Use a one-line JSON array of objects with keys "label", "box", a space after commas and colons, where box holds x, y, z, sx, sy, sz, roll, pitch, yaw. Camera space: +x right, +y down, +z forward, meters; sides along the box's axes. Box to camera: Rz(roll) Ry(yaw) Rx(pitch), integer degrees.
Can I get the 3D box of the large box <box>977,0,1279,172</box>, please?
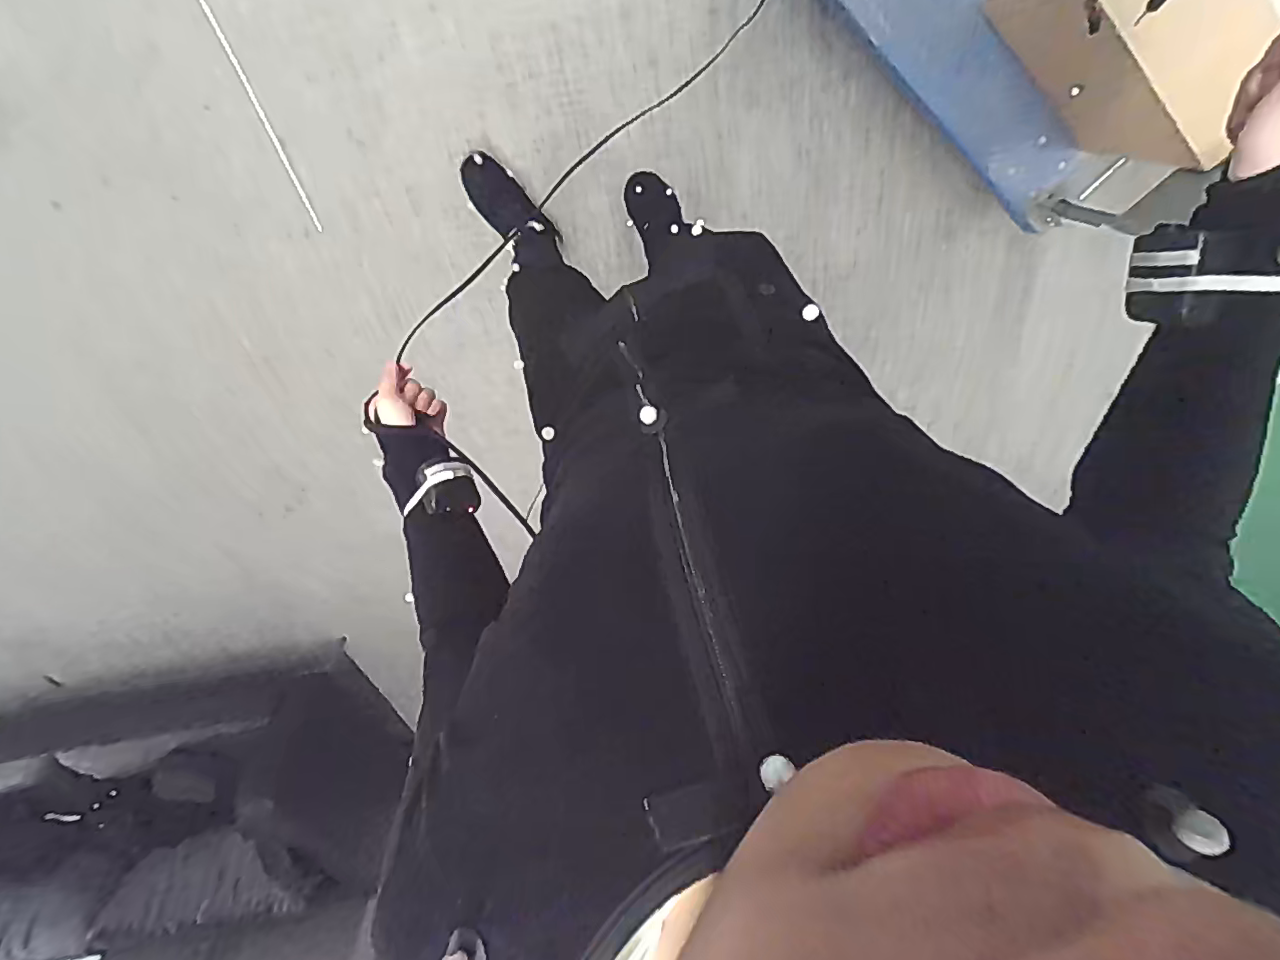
[{"label": "large box", "box": [0.870, -0.793, 0.886, 0.408, 0.320, 0.320, 30, 120, -21]}]
